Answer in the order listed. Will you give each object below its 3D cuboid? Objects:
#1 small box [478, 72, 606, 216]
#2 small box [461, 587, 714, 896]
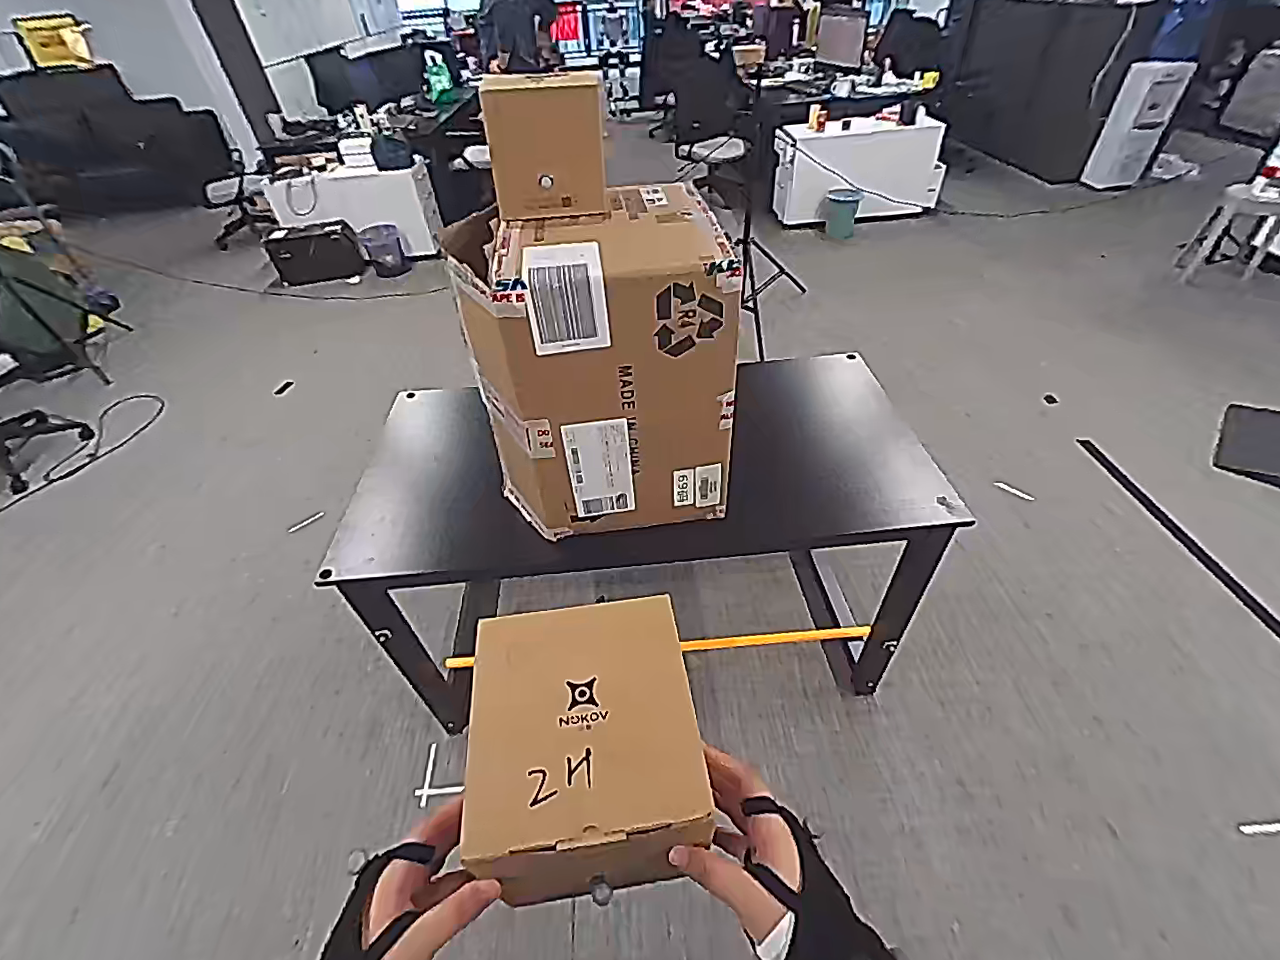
[{"bbox_3d":[-0.147,-0.525,0.845,0.168,0.176,0.179,-7,42,-6],"label":"small box"},{"bbox_3d":[-0.040,0.218,0.459,0.168,0.176,0.179,-7,44,-4],"label":"small box"}]
